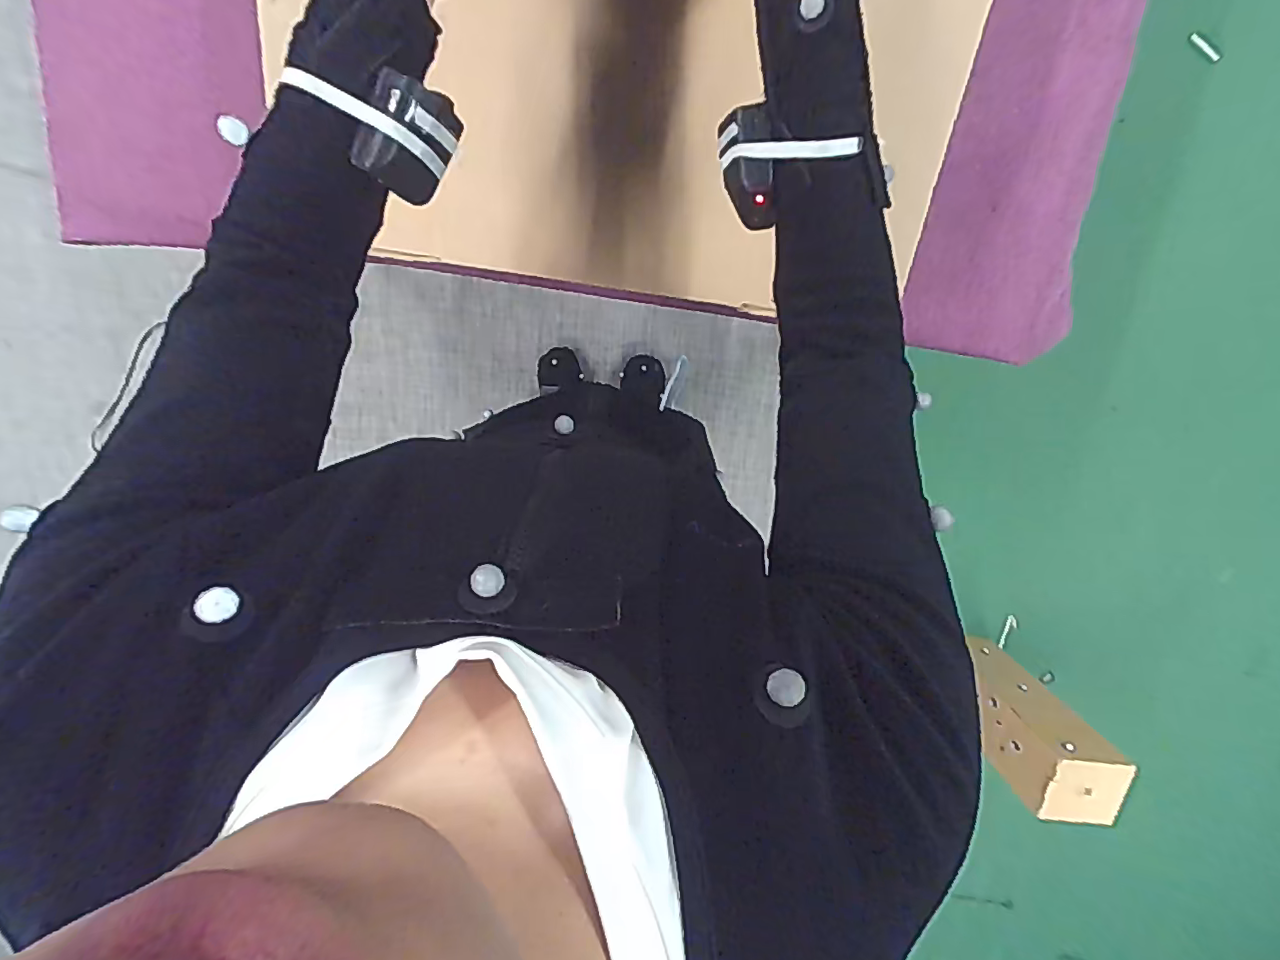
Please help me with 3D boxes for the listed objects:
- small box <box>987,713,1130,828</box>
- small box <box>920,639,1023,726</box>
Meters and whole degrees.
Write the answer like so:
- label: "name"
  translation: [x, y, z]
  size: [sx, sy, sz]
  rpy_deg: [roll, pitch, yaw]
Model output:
- label: "small box"
  translation: [0.965, 0.671, 1.262]
  size: [0.179, 0.176, 0.168]
  rpy_deg: [6, 106, -3]
- label: "small box"
  translation: [0.957, 0.585, 1.579]
  size: [0.179, 0.176, 0.168]
  rpy_deg: [9, 105, -3]
